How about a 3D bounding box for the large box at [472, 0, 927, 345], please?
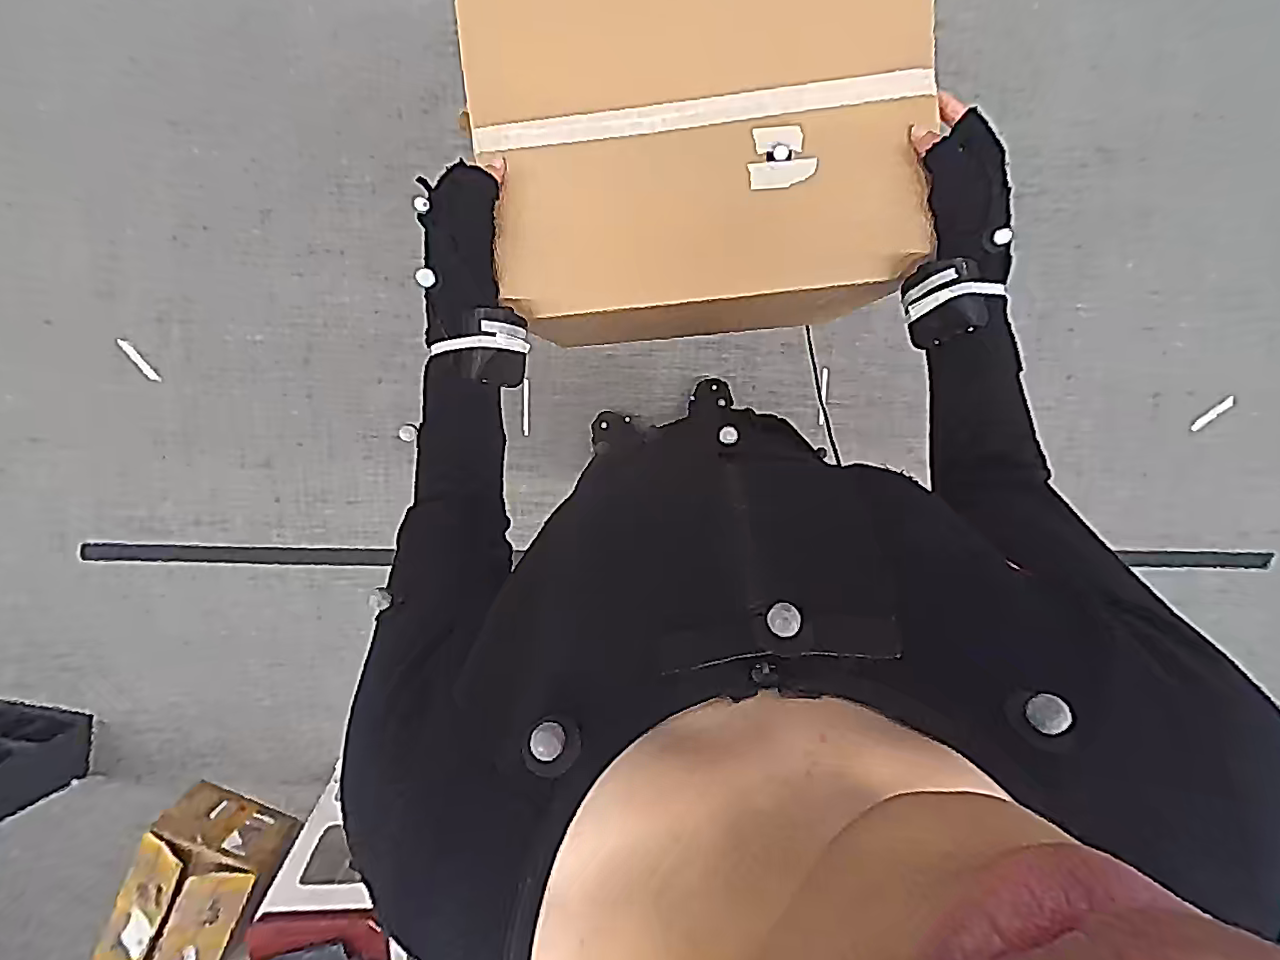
[{"bbox_3d":[0.061,-0.352,0.642,0.408,0.320,0.320,-5,99,2],"label":"large box"}]
